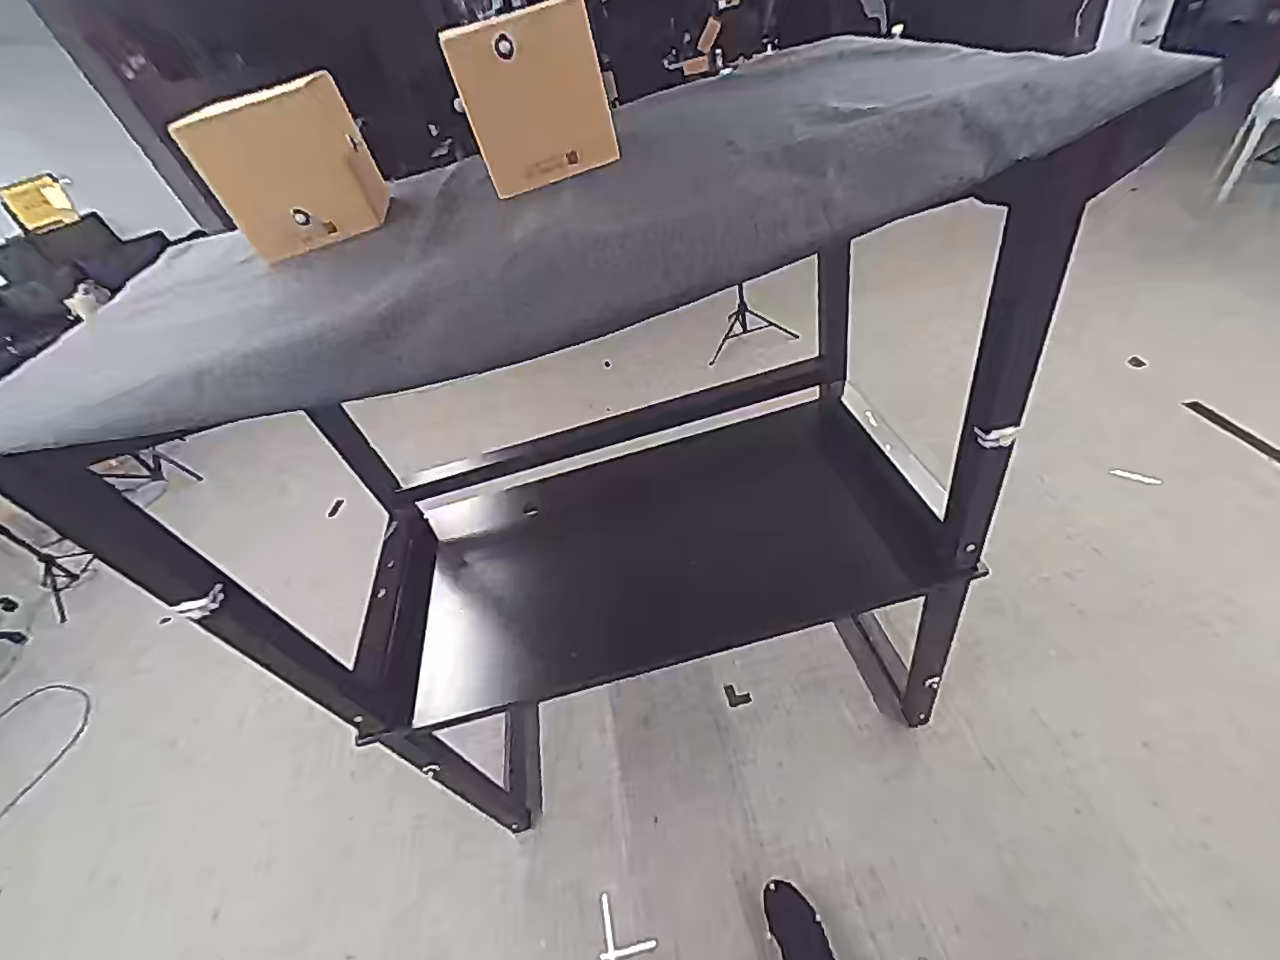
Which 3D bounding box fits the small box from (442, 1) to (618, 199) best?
[{"bbox_3d":[-0.141,-0.490,0.708,0.168,0.176,0.179,-20,42,-2],"label":"small box"}]
